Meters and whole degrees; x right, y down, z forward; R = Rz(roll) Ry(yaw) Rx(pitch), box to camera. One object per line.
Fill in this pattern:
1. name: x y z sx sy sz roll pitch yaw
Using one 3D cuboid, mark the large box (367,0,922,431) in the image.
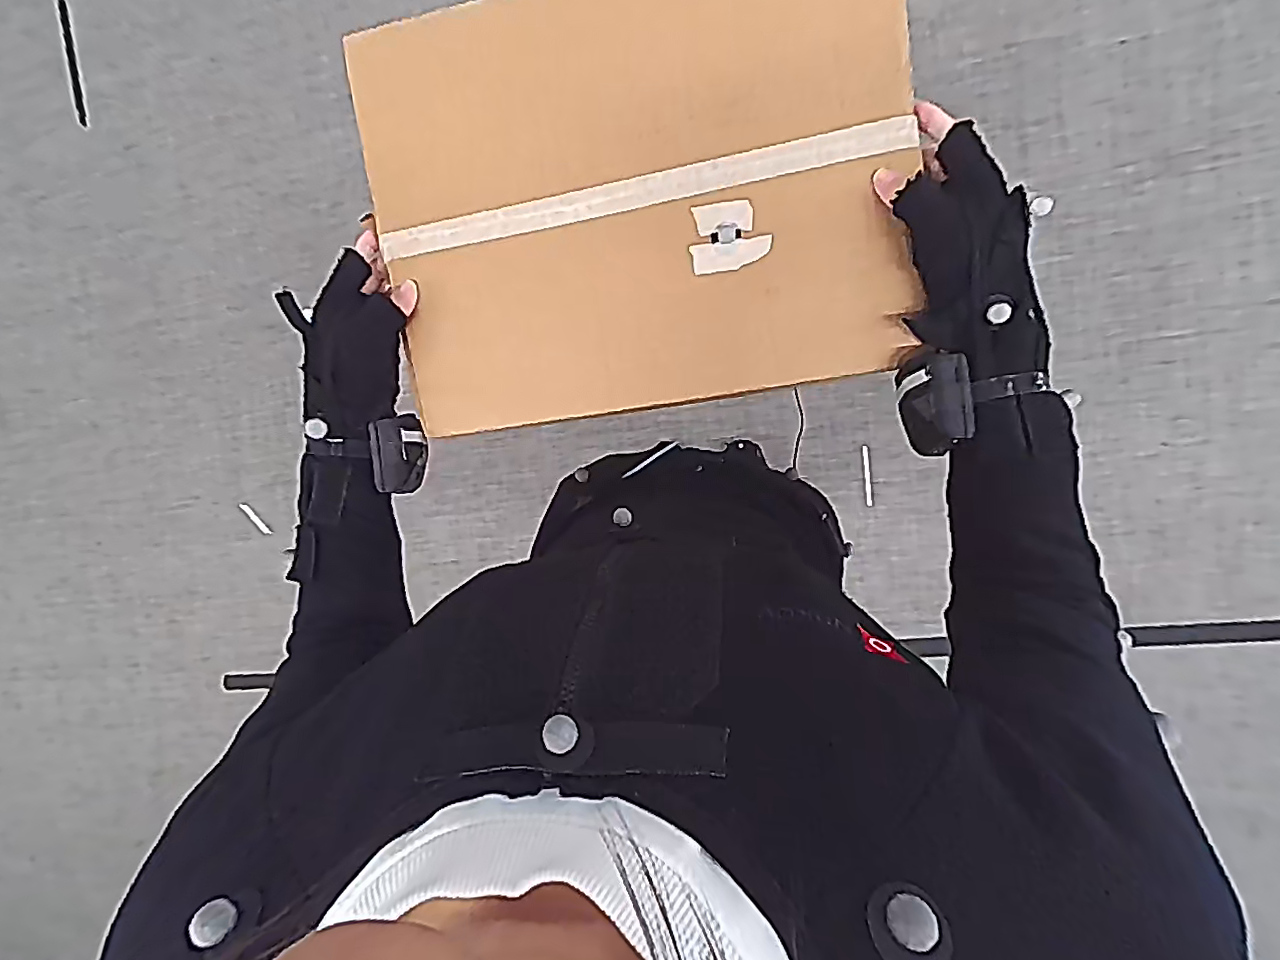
1. large box: 0.015 -0.240 0.566 0.408 0.320 0.320 -8 98 9
